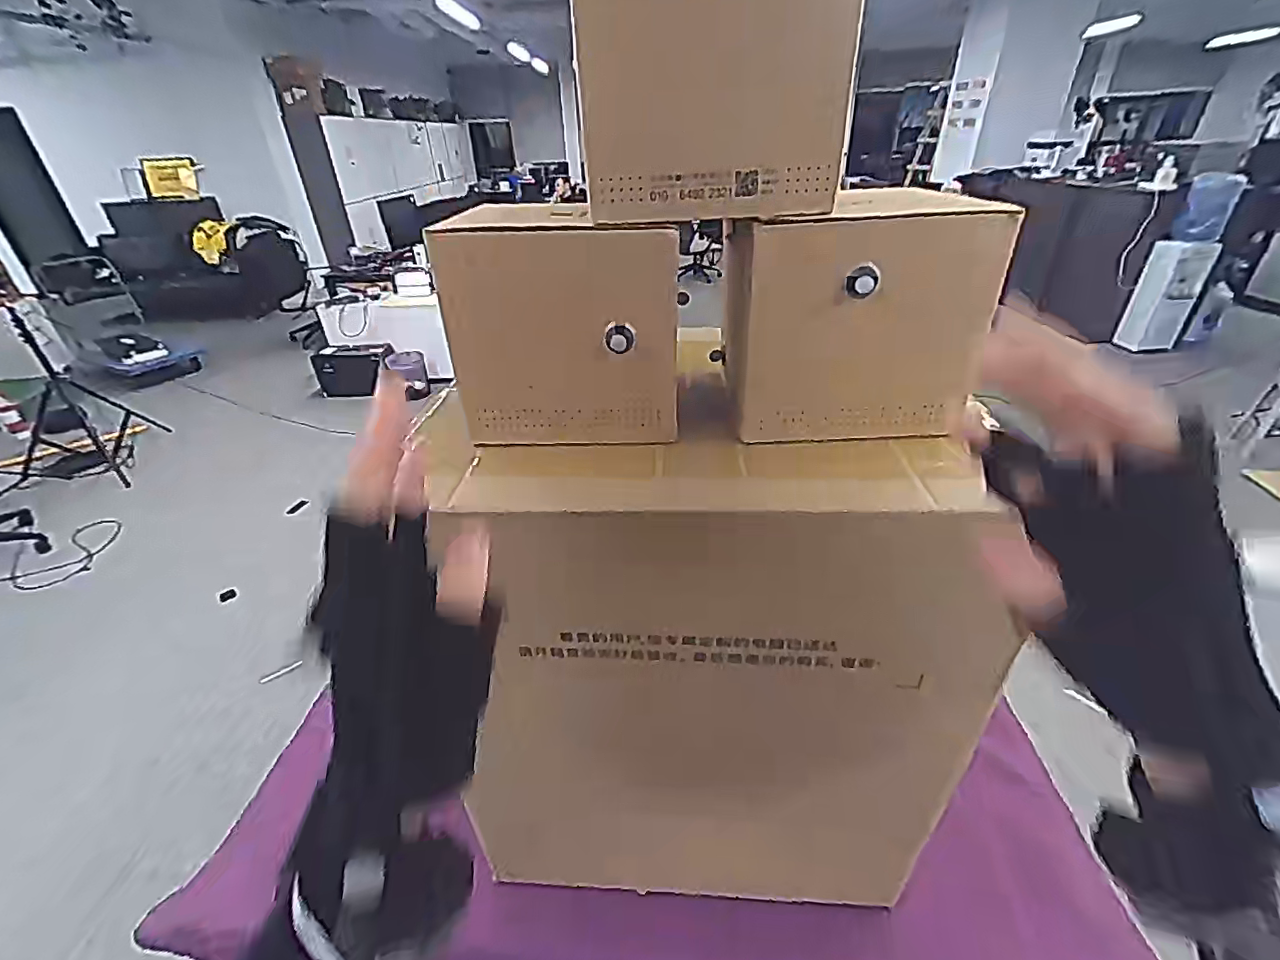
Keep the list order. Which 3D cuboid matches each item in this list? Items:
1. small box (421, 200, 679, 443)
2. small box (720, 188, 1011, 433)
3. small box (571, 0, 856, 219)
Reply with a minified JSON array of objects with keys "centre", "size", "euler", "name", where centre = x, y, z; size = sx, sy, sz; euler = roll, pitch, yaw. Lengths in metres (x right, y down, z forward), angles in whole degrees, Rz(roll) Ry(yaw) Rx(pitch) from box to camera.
[{"centre":[-0.060,-0.141,0.472],"size":[0.179,0.176,0.168],"euler":[-1,31,1],"name":"small box"},{"centre":[0.163,-0.147,0.464],"size":[0.179,0.176,0.168],"euler":[-2,32,1],"name":"small box"},{"centre":[0.043,-0.288,0.391],"size":[0.168,0.176,0.179],"euler":[-2,31,3],"name":"small box"}]
